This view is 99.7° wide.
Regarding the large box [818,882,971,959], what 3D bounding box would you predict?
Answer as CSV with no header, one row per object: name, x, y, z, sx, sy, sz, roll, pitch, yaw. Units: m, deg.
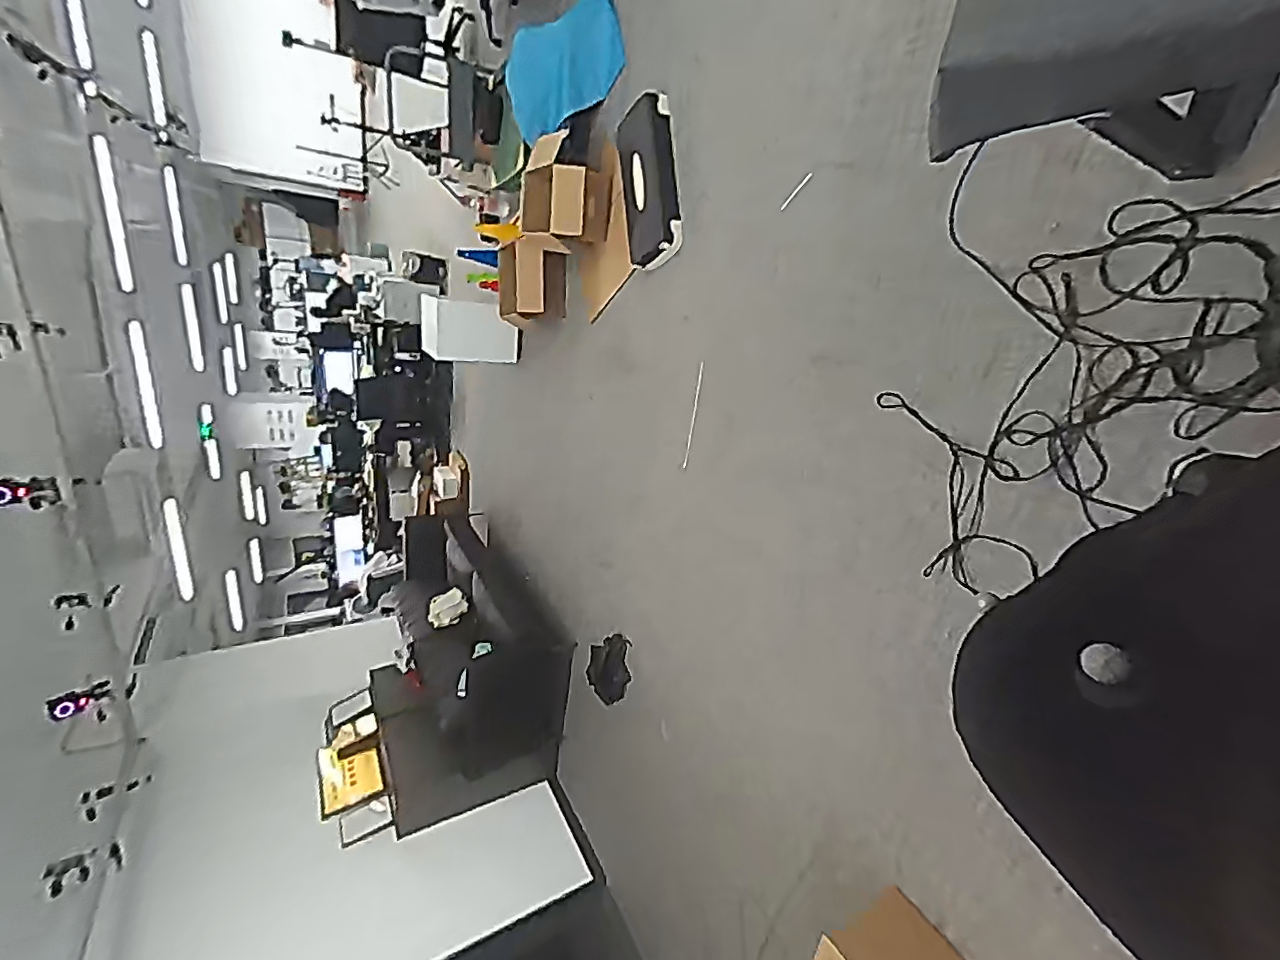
large box,0.735,1.436,1.464,0.408,0.320,0.320,35,123,53
